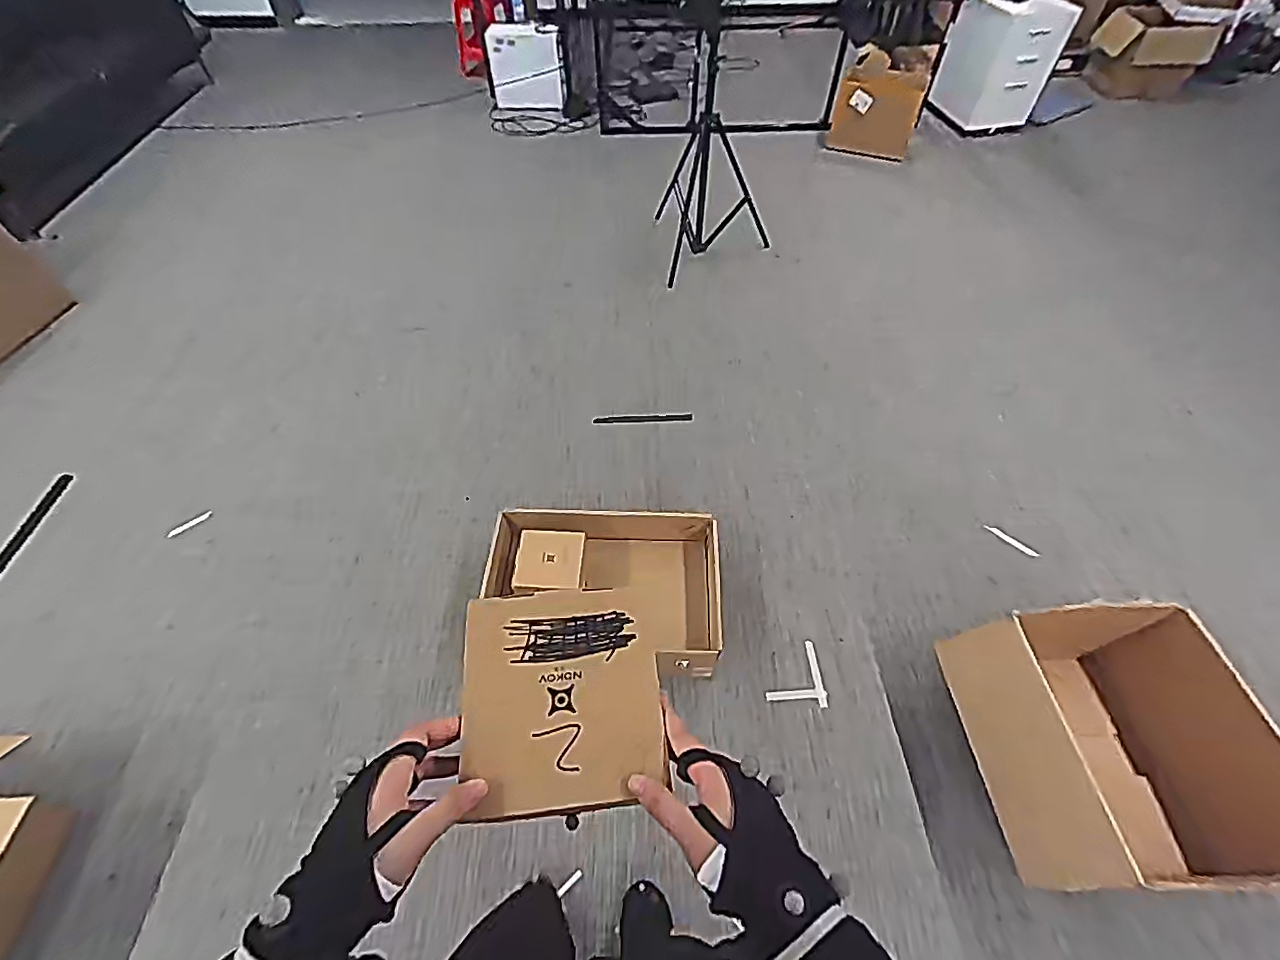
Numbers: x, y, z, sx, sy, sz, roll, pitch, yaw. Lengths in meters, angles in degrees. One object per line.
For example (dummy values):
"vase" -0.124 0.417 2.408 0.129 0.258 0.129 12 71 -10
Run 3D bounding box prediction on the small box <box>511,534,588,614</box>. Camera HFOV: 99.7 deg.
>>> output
"small box" -0.243 0.264 1.495 0.179 0.176 0.168 2 56 1
